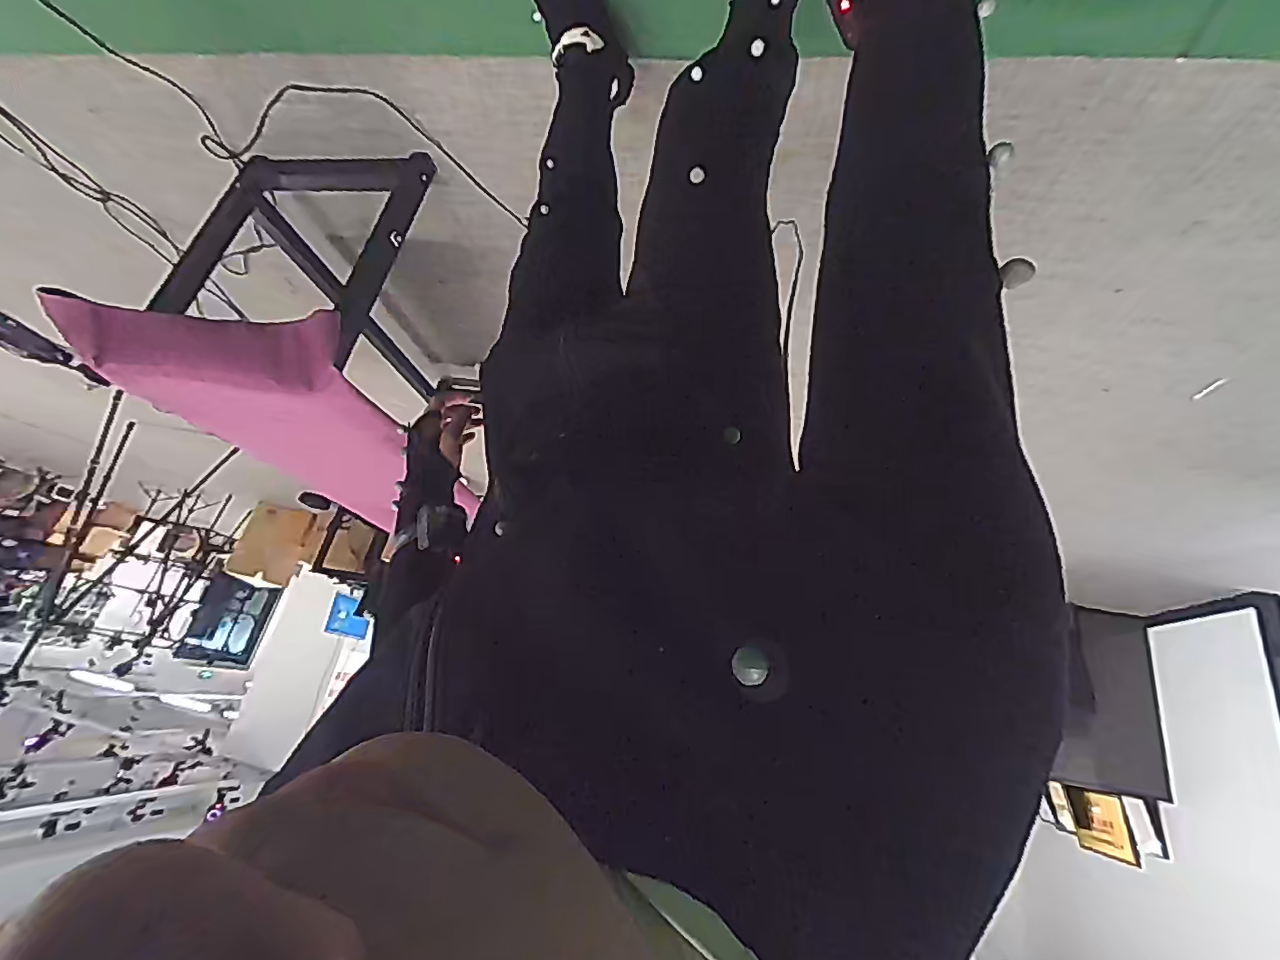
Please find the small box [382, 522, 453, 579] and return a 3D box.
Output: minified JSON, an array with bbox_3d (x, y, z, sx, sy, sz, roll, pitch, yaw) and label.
[{"bbox_3d":[-0.847,0.270,2.074,0.168,0.176,0.179,8,159,10],"label":"small box"}]
